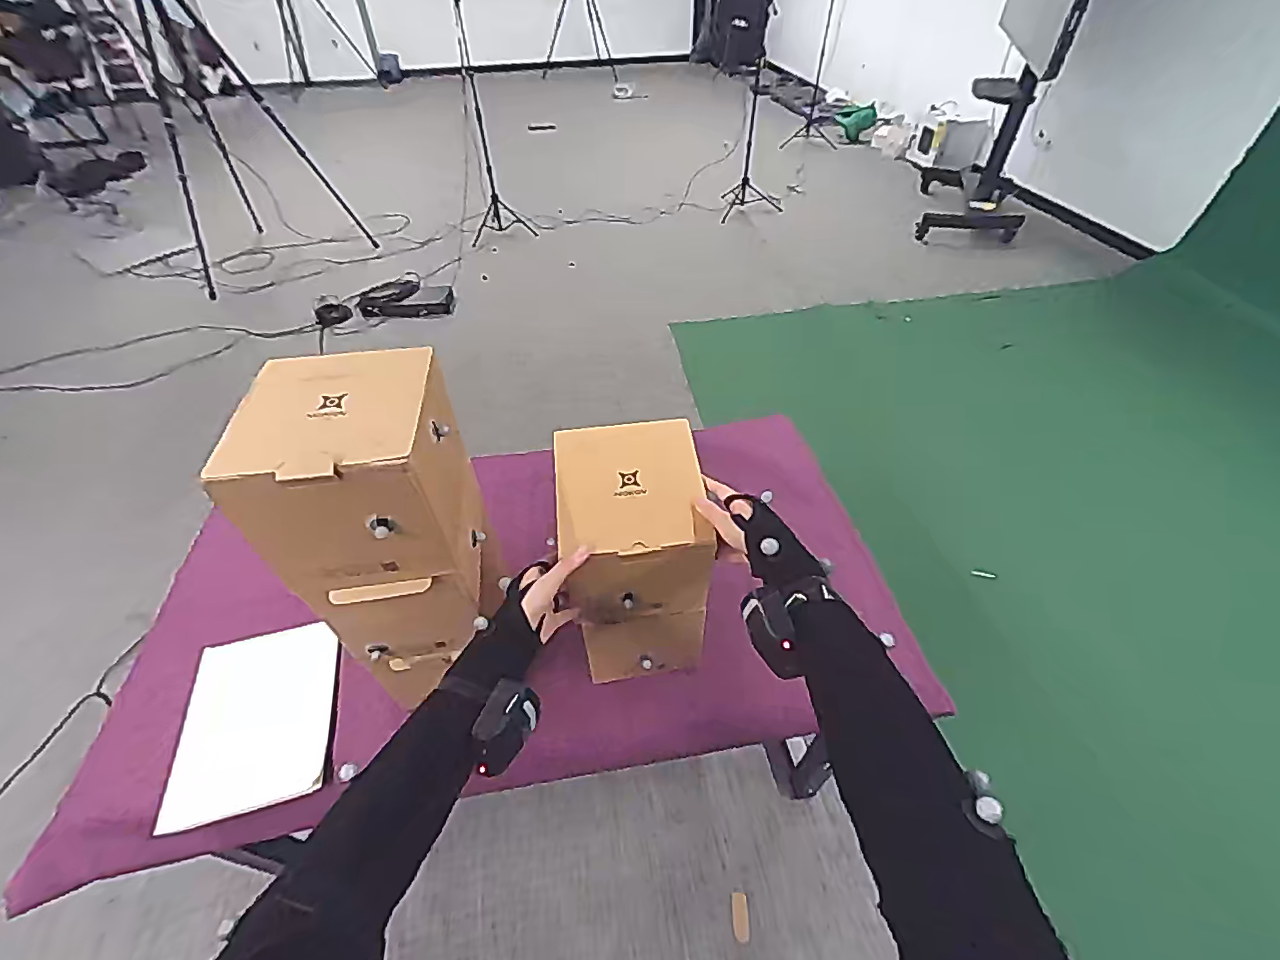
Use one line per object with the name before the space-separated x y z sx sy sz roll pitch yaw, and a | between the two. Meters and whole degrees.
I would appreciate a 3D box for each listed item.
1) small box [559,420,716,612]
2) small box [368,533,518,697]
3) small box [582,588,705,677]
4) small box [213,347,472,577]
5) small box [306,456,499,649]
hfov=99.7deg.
small box | -0.012 0.048 0.675 0.168 0.176 0.179 -4 57 -5
small box | -0.276 0.206 0.804 0.168 0.176 0.179 -7 47 -6
small box | -0.004 0.174 0.827 0.168 0.176 0.179 -8 46 -5
small box | -0.278 -0.014 0.560 0.168 0.176 0.179 -6 46 -6
small box | -0.278 0.096 0.680 0.168 0.176 0.179 -7 45 -5
